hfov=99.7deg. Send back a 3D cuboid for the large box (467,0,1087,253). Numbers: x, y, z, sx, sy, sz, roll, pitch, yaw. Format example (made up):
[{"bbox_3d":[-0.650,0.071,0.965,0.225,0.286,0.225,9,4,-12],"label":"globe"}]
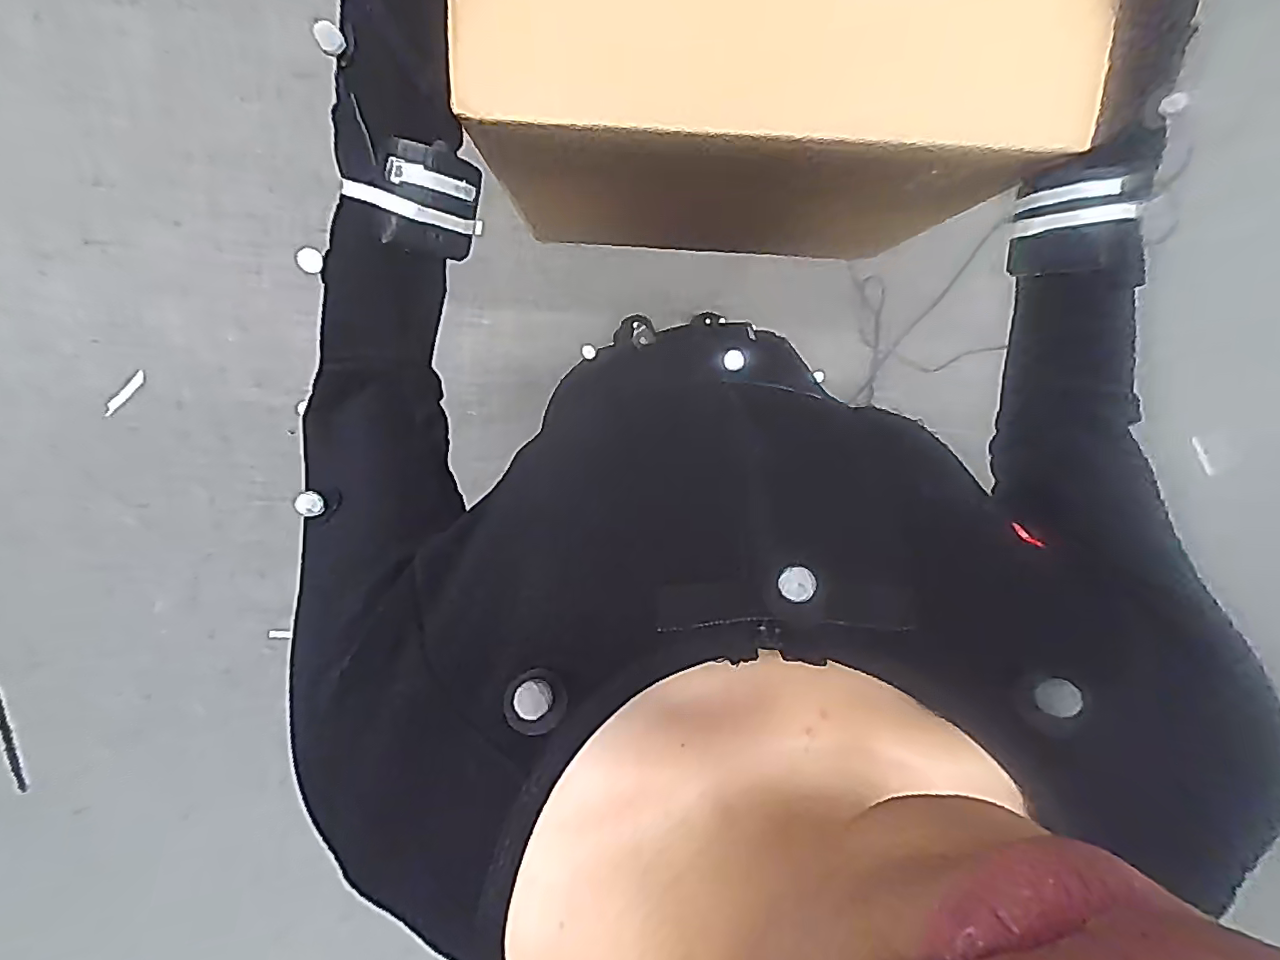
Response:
[{"bbox_3d":[0.084,-0.402,0.477,0.408,0.320,0.320,2,100,-2],"label":"large box"}]
